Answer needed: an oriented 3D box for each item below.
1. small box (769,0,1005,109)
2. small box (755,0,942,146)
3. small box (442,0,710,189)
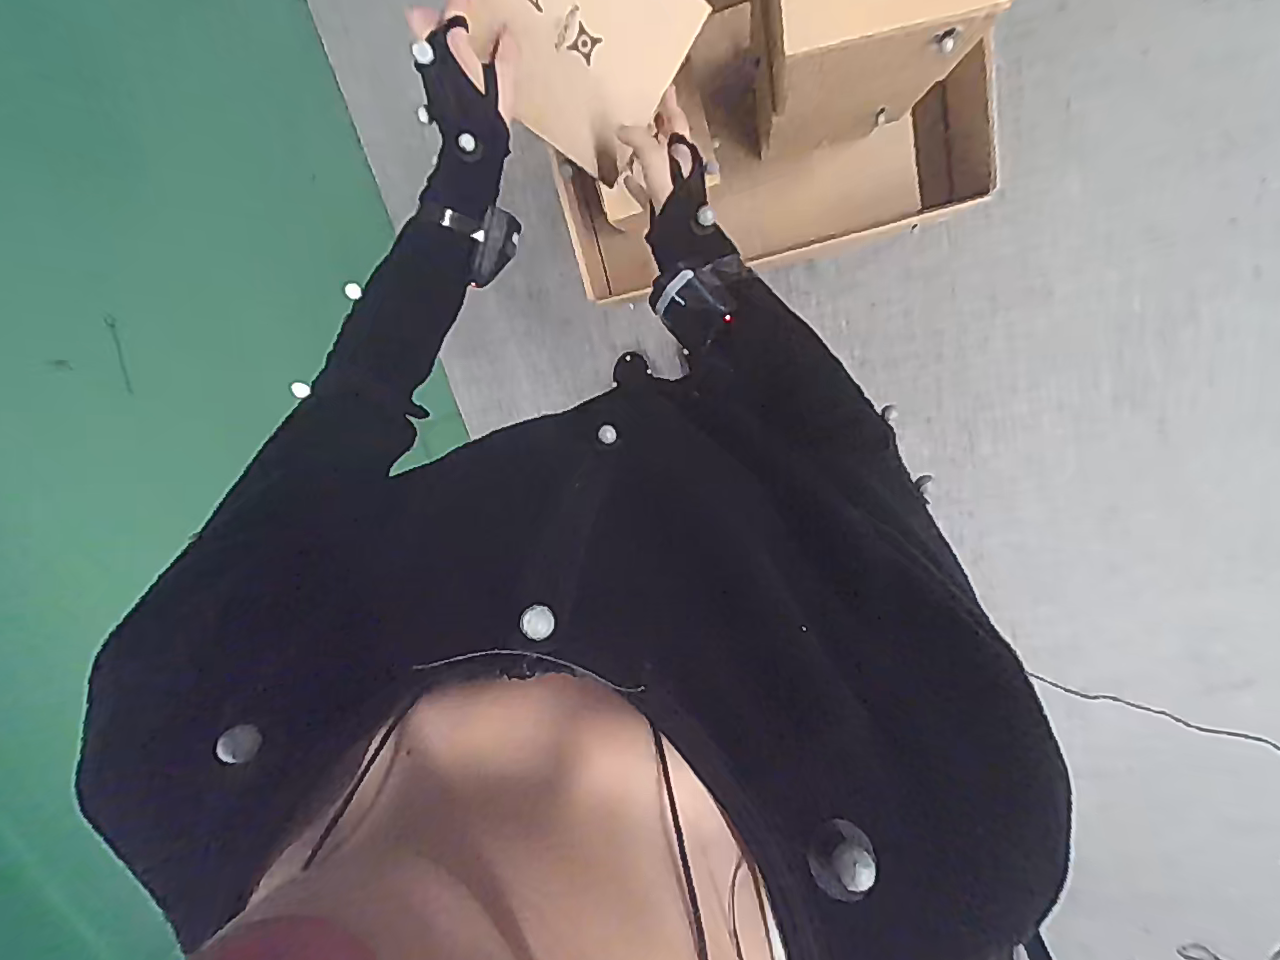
[{"bbox_3d":[0.206,-0.461,0.480,0.179,0.176,0.168,-5,108,13],"label":"small box"},{"bbox_3d":[0.231,-0.515,0.630,0.179,0.176,0.168,-6,109,14],"label":"small box"},{"bbox_3d":[-0.061,-0.418,0.525,0.179,0.176,0.168,27,115,-20],"label":"small box"}]
